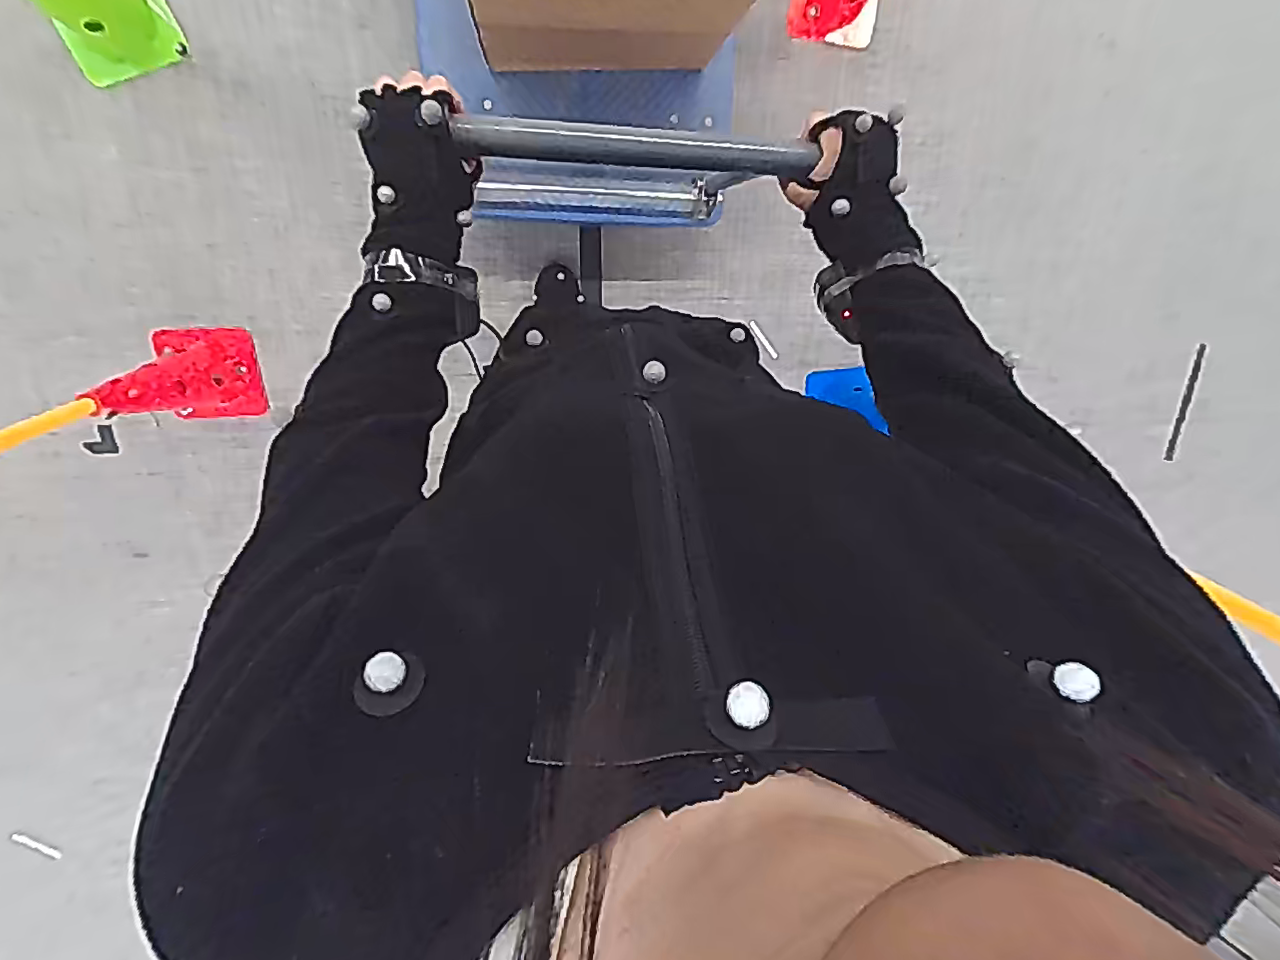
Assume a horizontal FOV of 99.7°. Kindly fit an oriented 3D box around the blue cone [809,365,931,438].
[{"bbox_3d":[0.584,-0.165,1.341,0.193,0.380,0.192,-7,109,-8],"label":"blue cone"}]

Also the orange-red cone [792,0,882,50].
[{"bbox_3d":[0.465,-1.007,1.011,0.199,0.360,0.198,3,109,-12],"label":"orange-red cone"}]
